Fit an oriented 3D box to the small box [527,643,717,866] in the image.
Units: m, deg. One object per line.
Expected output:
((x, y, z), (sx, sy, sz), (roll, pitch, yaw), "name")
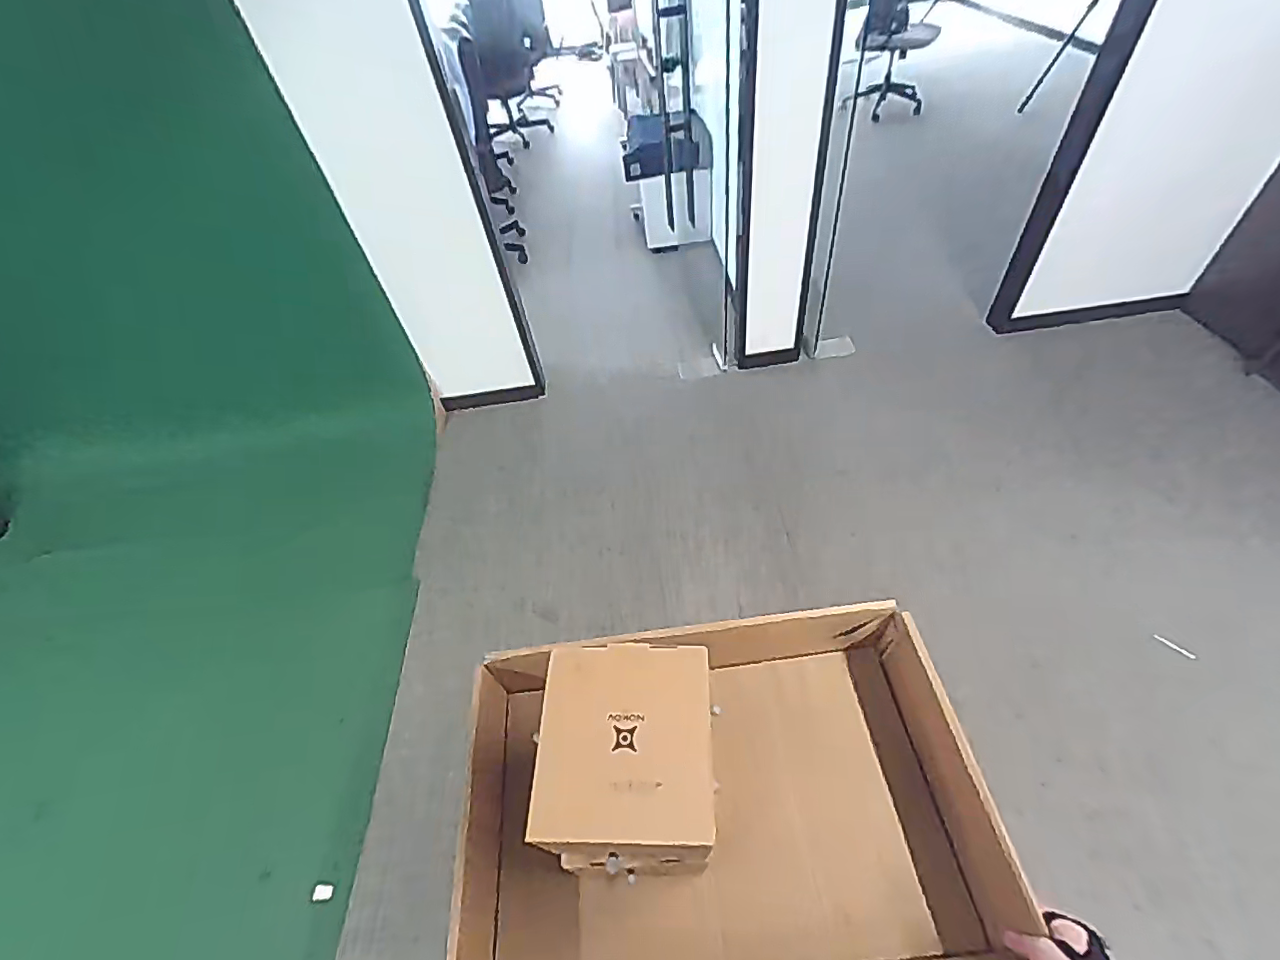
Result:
((-0.008, 0.290, 0.570), (0.168, 0.176, 0.179), (0, 52, 4), "small box")

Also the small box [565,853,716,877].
((0.001, 0.396, 0.694), (0.168, 0.176, 0.179), (-3, 52, 1), "small box")
